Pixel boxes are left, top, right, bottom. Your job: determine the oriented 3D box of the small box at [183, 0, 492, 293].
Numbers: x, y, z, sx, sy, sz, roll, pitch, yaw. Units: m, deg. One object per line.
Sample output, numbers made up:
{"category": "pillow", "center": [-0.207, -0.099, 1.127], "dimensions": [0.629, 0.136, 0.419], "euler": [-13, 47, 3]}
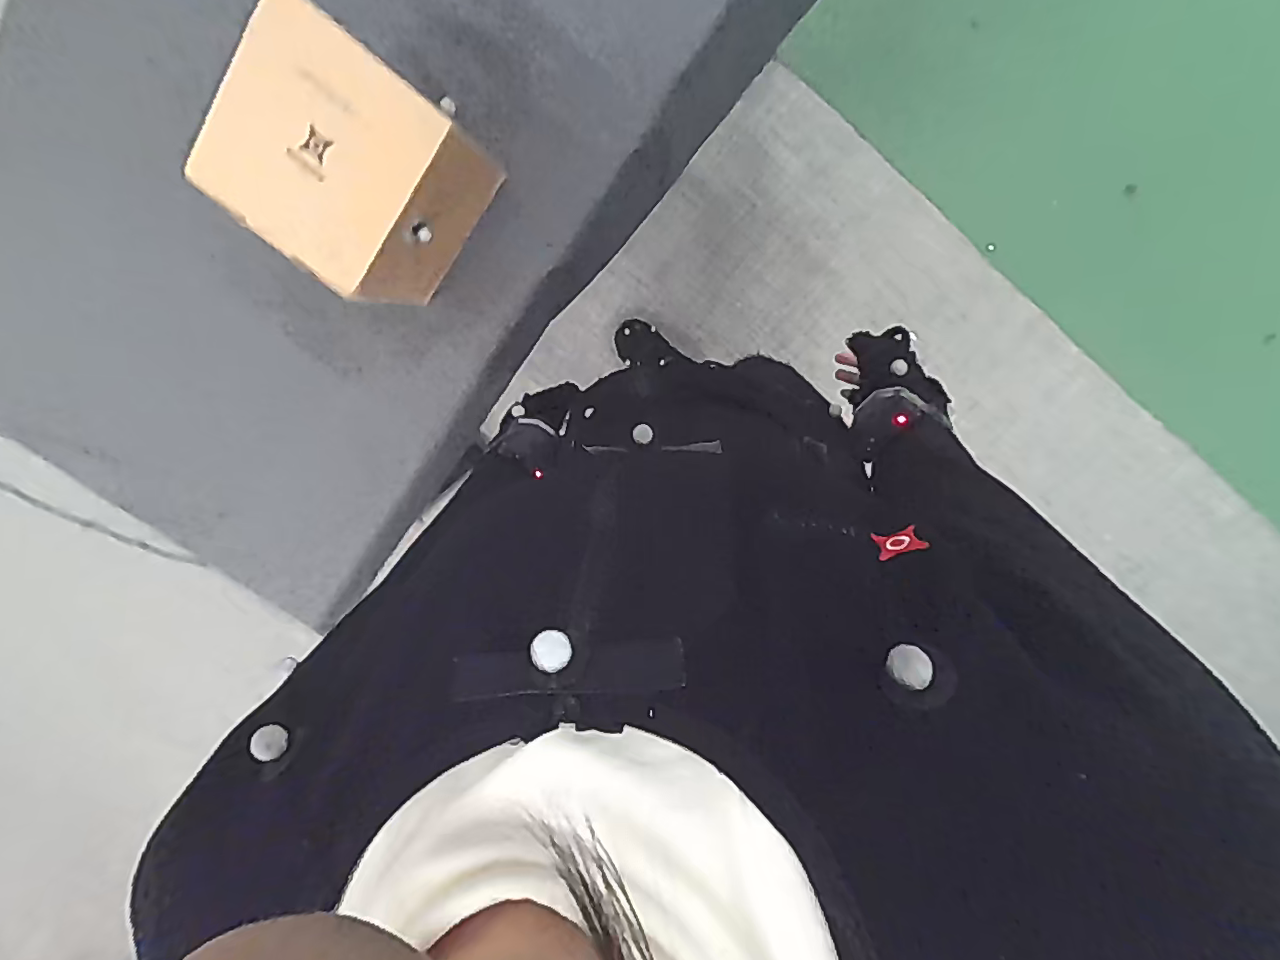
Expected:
{"category": "small box", "center": [-0.269, -0.301, 0.523], "dimensions": [0.168, 0.176, 0.179], "euler": [37, 105, -10]}
